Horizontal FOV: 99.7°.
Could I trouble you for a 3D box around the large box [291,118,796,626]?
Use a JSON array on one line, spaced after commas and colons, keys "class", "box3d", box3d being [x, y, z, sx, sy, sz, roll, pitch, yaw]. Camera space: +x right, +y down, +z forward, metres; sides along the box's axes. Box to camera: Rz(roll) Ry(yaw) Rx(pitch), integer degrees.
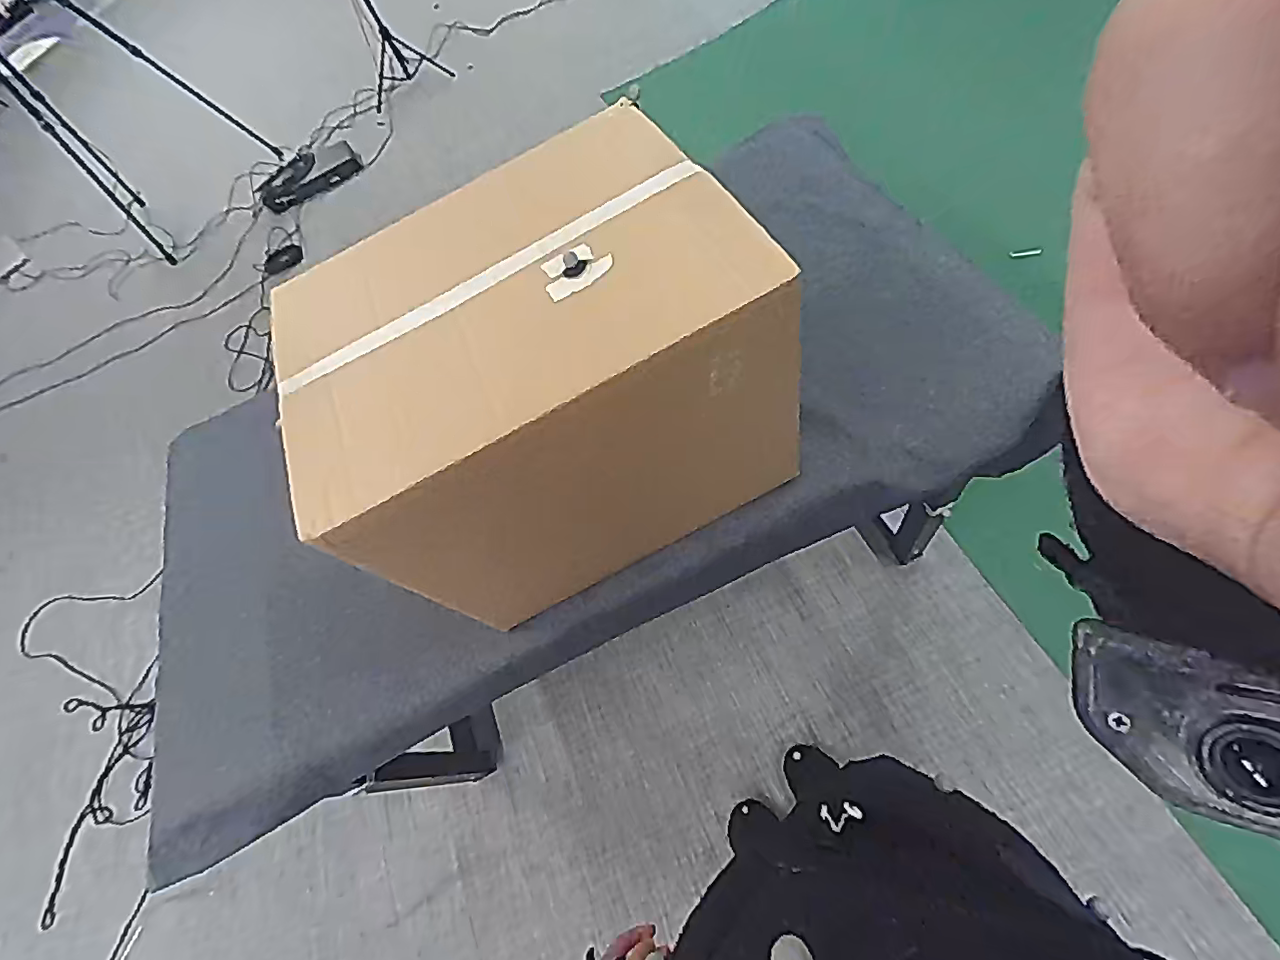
[{"class": "large box", "box3d": [-0.084, -0.096, 0.599, 0.408, 0.320, 0.320, -28, 60, -1]}]
